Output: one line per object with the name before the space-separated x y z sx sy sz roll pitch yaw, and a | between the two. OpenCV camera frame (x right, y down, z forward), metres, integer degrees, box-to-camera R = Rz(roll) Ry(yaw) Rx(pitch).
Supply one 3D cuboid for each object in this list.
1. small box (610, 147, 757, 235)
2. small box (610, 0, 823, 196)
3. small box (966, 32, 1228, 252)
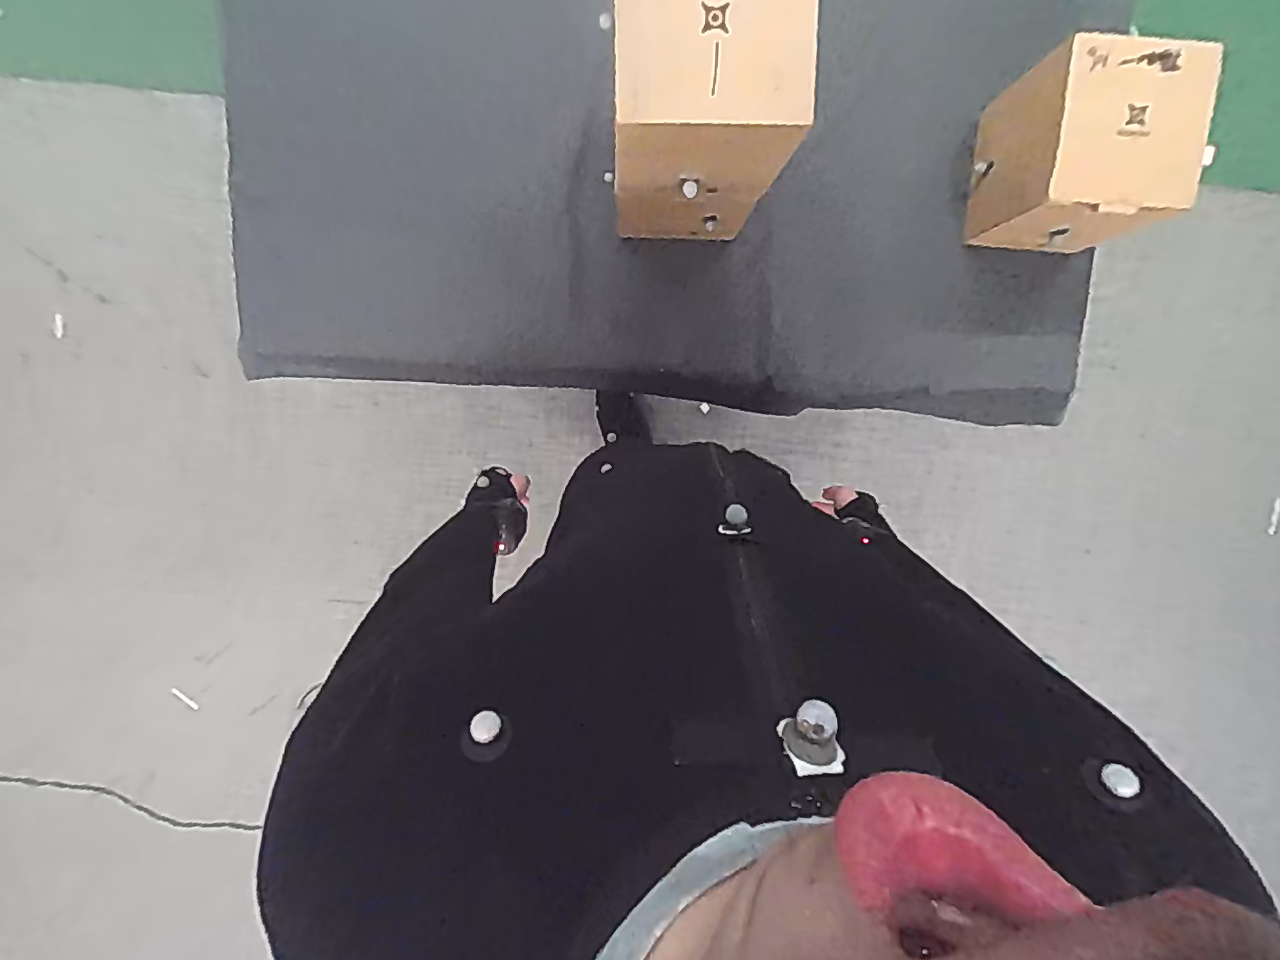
small box | 0.050 -0.412 0.656 0.168 0.176 0.179 1 97 -3
small box | 0.057 -0.386 0.494 0.168 0.176 0.179 0 99 -2
small box | 0.536 -0.395 0.665 0.168 0.176 0.179 5 99 -1
